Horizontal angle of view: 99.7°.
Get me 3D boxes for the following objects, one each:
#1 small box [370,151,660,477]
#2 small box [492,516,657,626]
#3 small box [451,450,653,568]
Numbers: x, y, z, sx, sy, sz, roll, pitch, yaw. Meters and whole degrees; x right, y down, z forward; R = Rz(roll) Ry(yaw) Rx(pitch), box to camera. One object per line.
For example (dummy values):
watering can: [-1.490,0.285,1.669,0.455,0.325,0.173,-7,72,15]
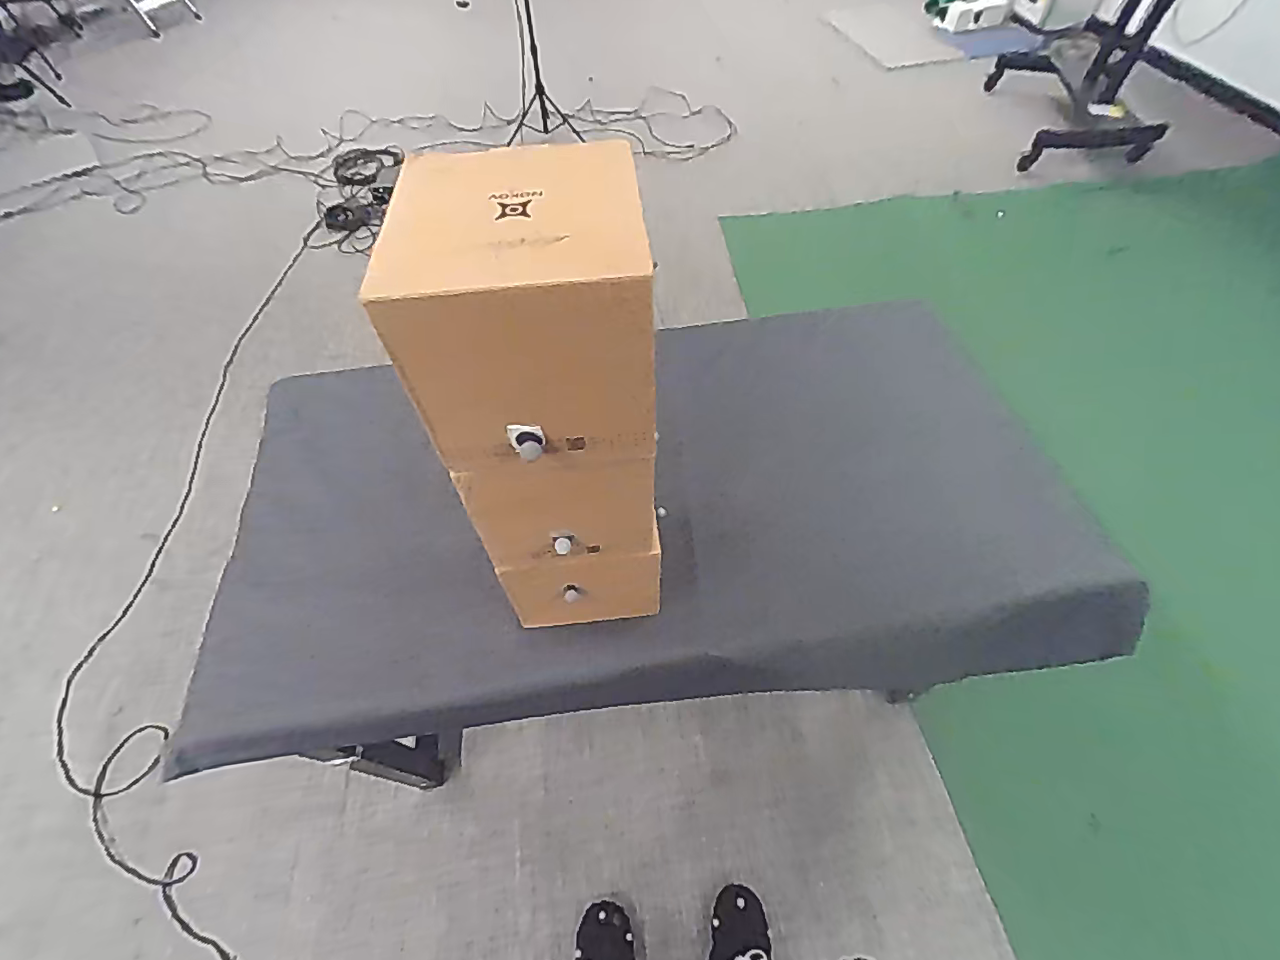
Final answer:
small box: [-0.076,-0.123,0.418,0.168,0.176,0.179,-5,55,-2]
small box: [-0.073,0.072,0.679,0.179,0.176,0.168,-5,54,-2]
small box: [-0.078,-0.030,0.549,0.168,0.176,0.179,-5,54,-3]
